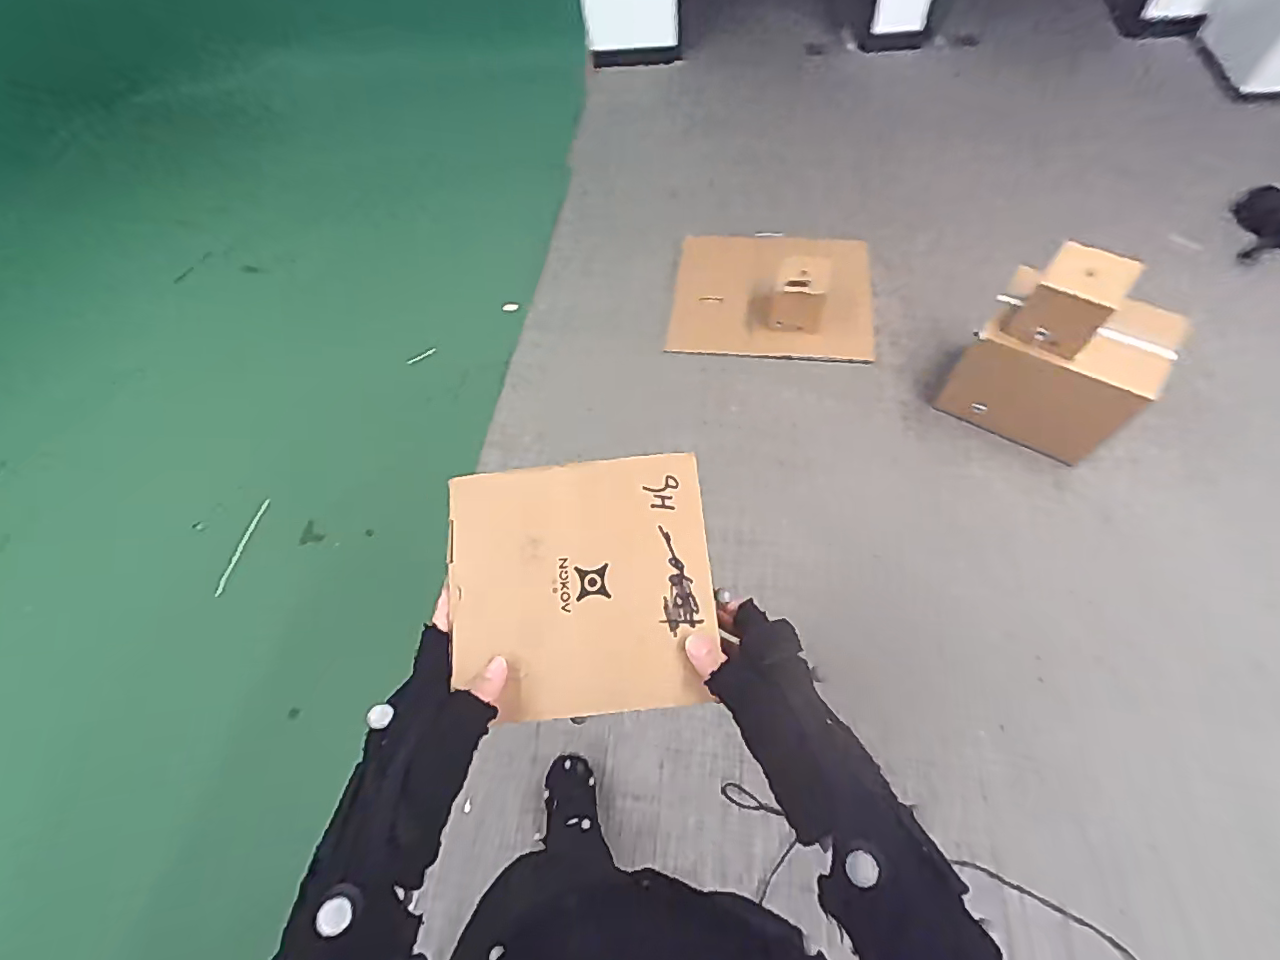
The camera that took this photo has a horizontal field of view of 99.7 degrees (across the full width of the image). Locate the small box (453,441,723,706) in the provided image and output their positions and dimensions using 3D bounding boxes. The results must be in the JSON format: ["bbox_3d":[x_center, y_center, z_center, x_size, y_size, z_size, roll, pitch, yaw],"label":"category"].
[{"bbox_3d":[-0.037,0.084,0.444,0.179,0.176,0.168,-8,72,0],"label":"small box"}]

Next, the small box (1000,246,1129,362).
[{"bbox_3d":[1.017,-0.424,1.310,0.168,0.176,0.179,32,70,23],"label":"small box"}]

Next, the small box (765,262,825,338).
[{"bbox_3d":[0.515,-0.600,1.810,0.168,0.176,0.179,9,59,12],"label":"small box"}]
